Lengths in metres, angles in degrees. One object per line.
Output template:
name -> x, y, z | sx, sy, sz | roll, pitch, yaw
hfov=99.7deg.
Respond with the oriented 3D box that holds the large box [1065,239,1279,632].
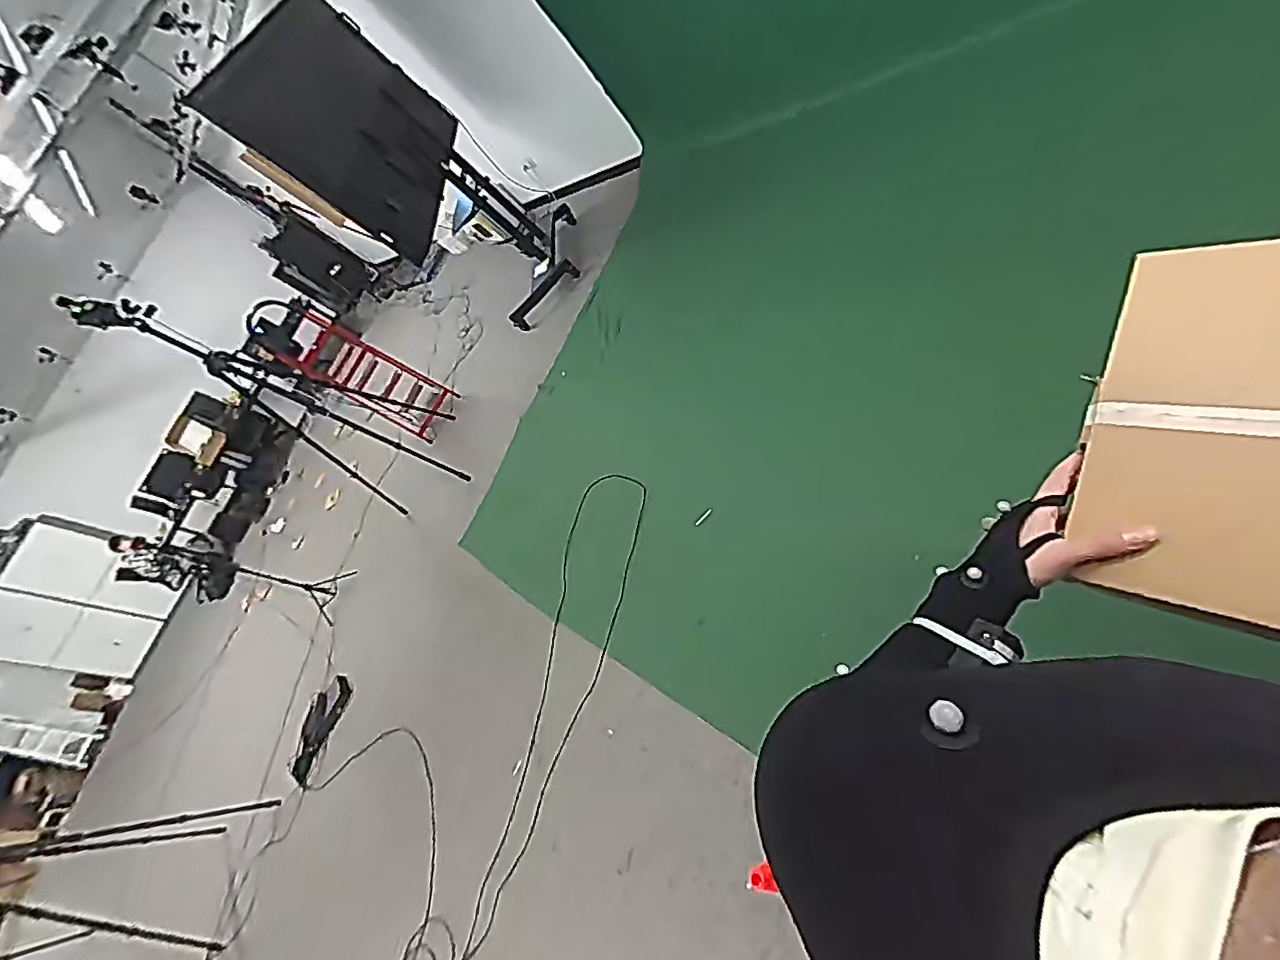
large box -> 0.669, -0.006, 0.470 | 0.408, 0.320, 0.320 | 14, 88, 47
